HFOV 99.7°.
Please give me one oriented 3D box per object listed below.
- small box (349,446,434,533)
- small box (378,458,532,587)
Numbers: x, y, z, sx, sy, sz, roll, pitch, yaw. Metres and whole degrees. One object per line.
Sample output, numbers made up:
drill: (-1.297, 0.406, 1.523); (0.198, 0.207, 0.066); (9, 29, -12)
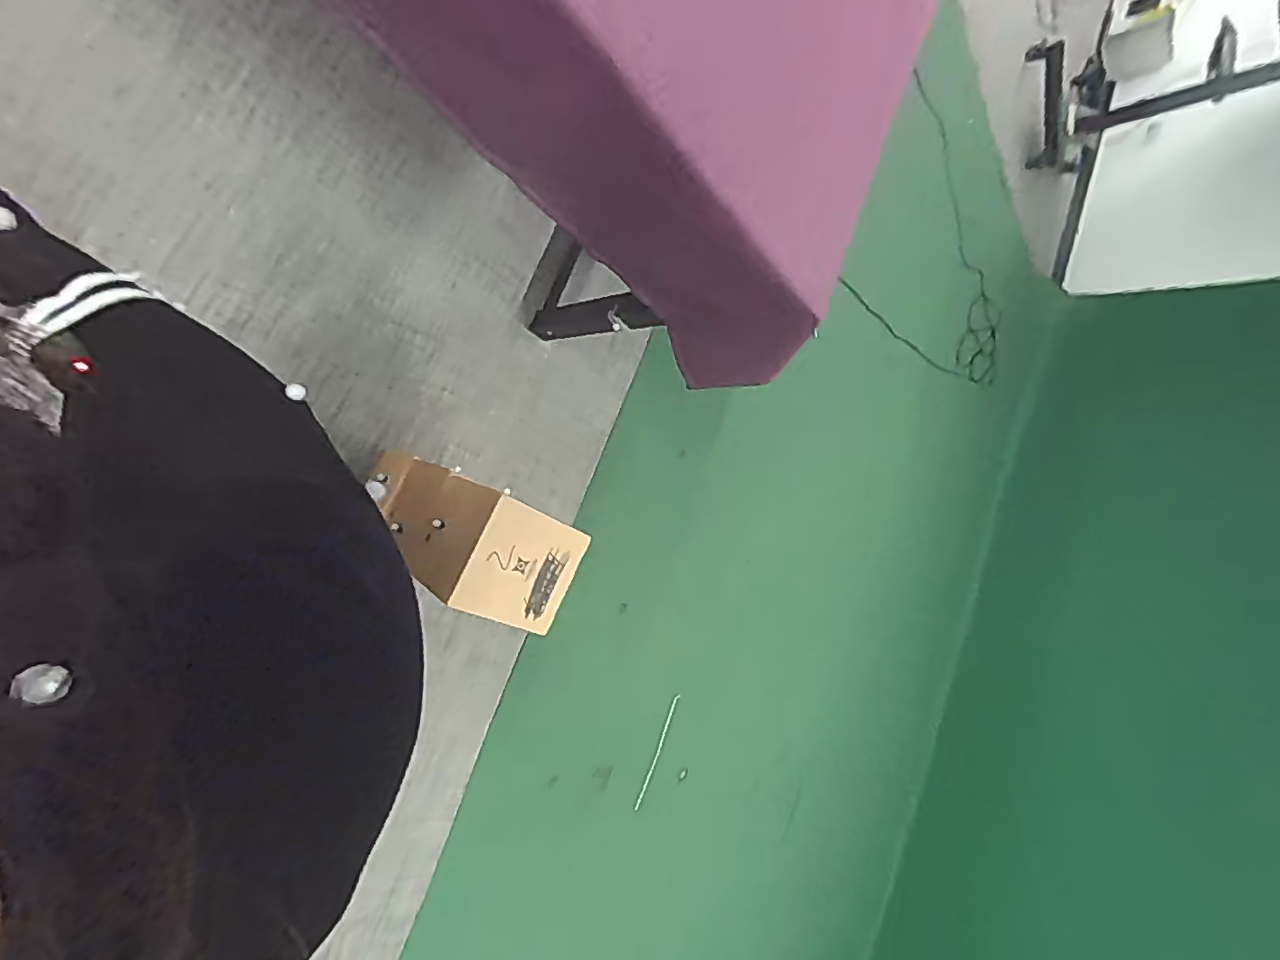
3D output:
small box: (-0.445, 0.042, 1.076); (0.179, 0.176, 0.168); (34, 75, -40)
small box: (-0.332, 0.070, 0.960); (0.179, 0.176, 0.168); (31, 78, -42)
